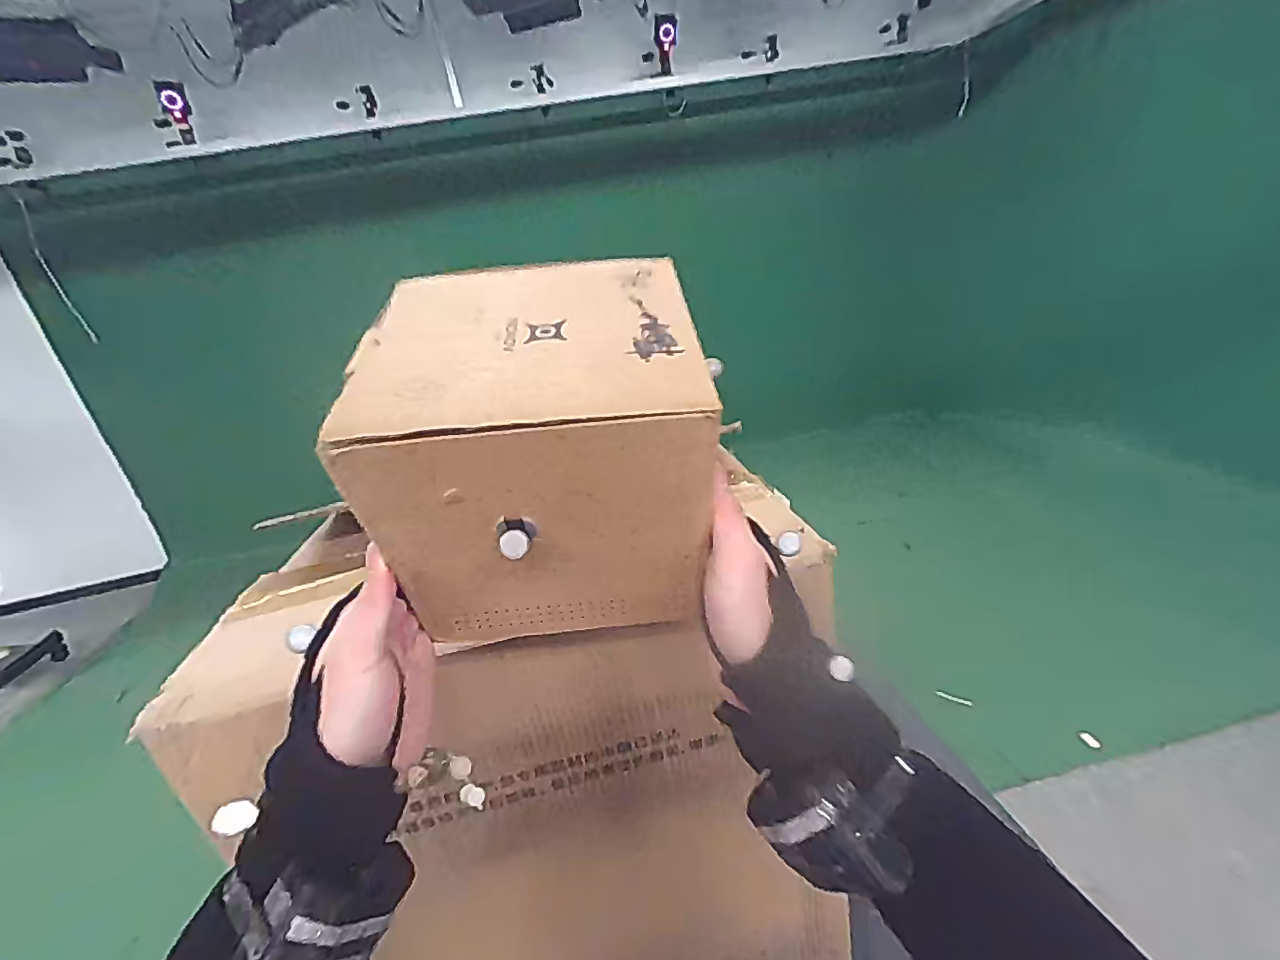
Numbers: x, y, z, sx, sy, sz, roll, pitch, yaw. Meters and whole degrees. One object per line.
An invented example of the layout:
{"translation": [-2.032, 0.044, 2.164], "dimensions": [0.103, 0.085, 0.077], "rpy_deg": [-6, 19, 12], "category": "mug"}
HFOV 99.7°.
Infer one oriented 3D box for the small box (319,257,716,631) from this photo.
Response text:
{"translation": [-0.053, -0.019, 0.343], "dimensions": [0.179, 0.176, 0.168], "rpy_deg": [-5, 46, -2], "category": "small box"}
